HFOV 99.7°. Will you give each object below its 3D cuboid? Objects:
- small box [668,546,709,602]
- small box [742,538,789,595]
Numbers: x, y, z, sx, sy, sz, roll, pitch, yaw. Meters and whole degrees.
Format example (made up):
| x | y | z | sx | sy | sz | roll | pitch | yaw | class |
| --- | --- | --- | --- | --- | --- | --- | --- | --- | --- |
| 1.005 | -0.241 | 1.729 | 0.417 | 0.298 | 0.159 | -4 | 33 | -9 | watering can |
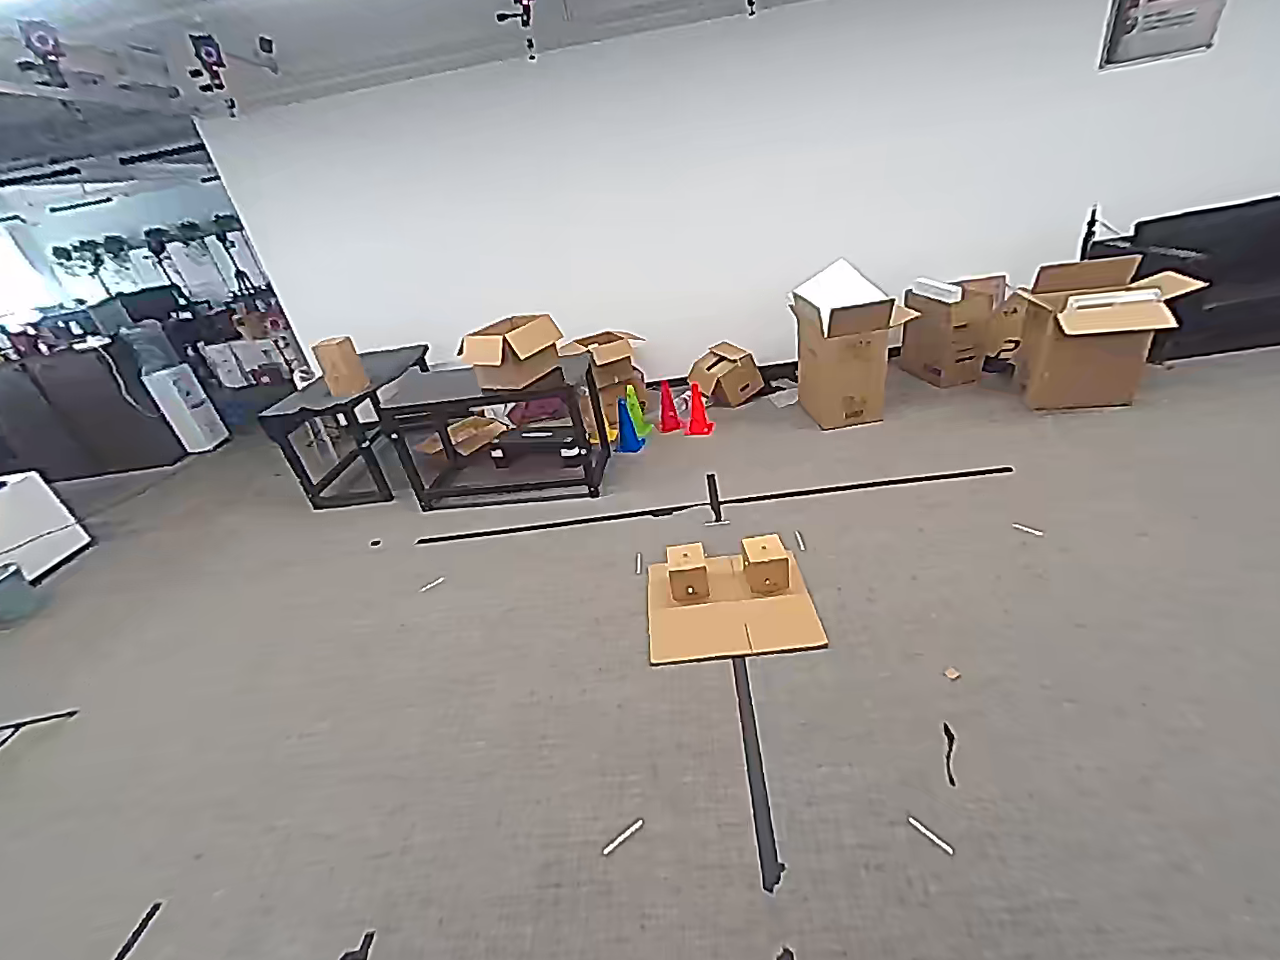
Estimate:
| x | y | z | sx | sy | sz | roll | pitch | yaw | class |
| --- | --- | --- | --- | --- | --- | --- | --- | --- | --- |
| 0.217 | 0.424 | 2.437 | 0.168 | 0.176 | 0.179 | -9 | 29 | 5 | small box |
| 0.558 | 0.385 | 2.411 | 0.168 | 0.176 | 0.179 | -10 | 29 | 1 | small box |
